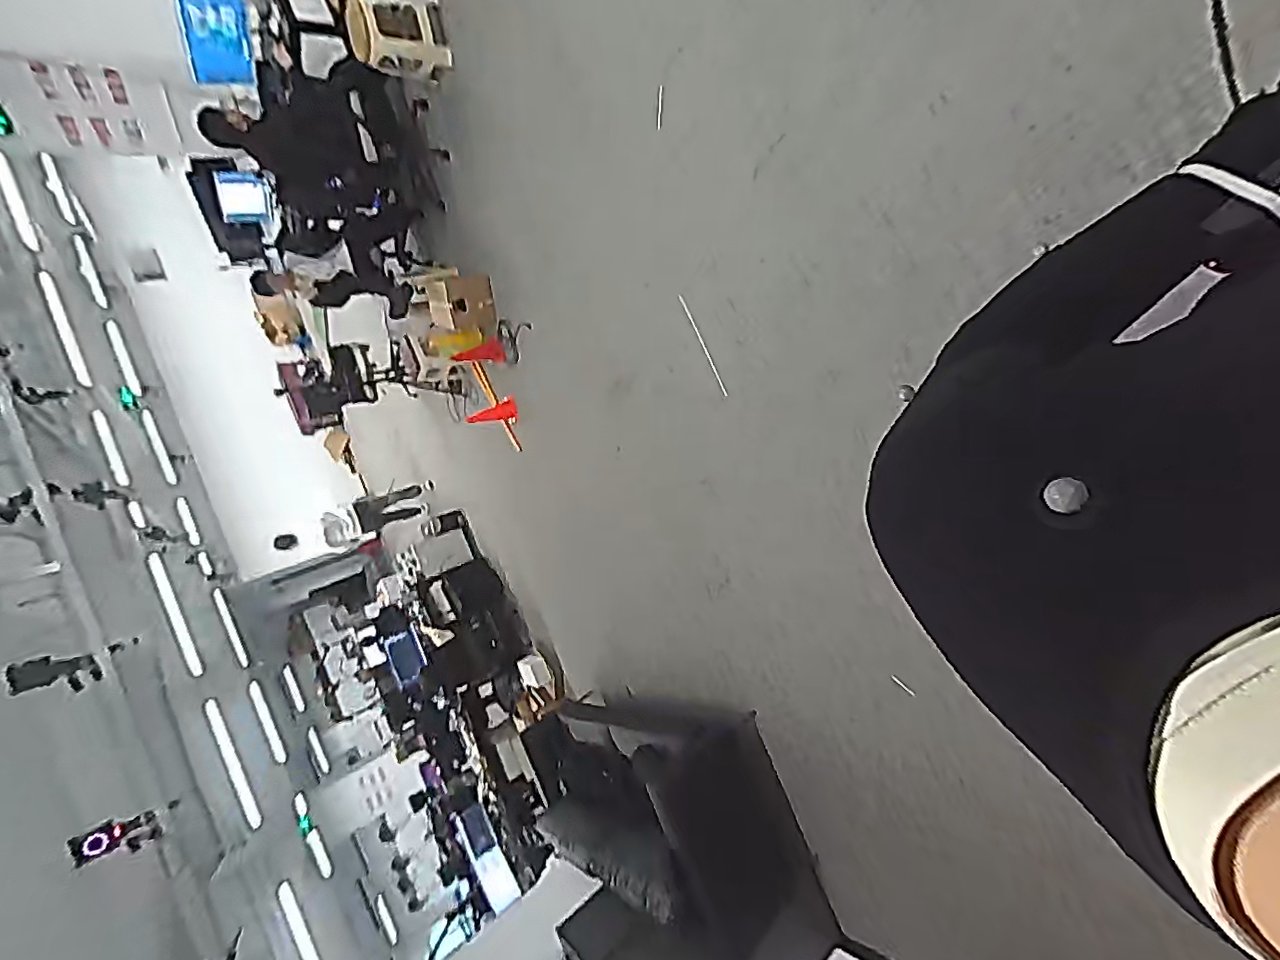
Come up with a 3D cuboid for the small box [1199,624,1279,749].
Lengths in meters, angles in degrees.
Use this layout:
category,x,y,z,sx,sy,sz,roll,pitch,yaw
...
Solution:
category,x,y,z,sx,sy,sz,roll,pitch,yaw
small box,1.238,0.400,1.047,0.168,0.176,0.179,-15,94,57
